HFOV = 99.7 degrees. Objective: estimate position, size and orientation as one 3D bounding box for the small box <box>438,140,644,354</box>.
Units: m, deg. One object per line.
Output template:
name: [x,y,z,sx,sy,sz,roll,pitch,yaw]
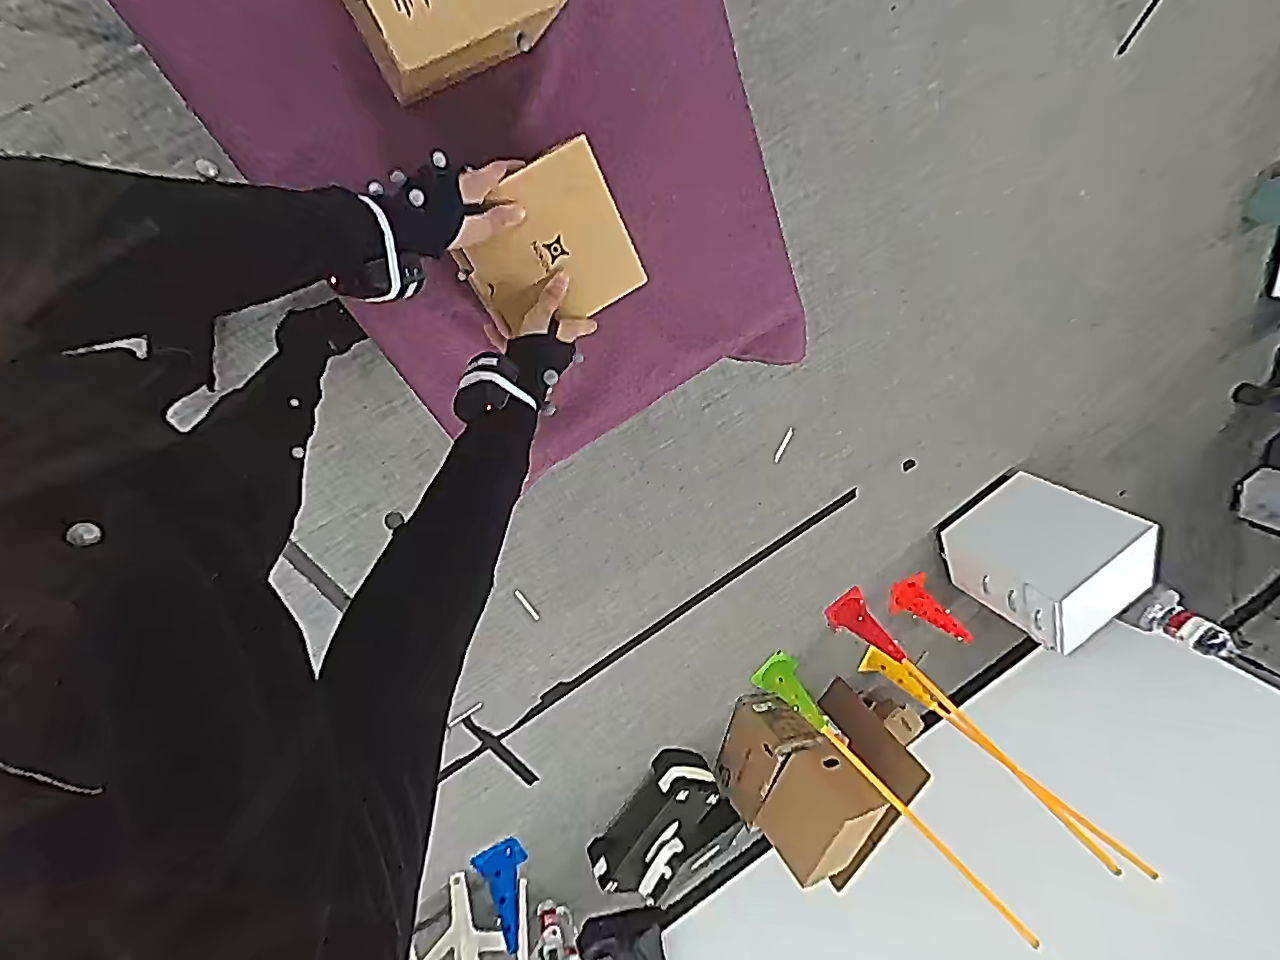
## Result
small box: [-0.127,-0.284,0.663,0.179,0.176,0.168,-33,122,-6]
